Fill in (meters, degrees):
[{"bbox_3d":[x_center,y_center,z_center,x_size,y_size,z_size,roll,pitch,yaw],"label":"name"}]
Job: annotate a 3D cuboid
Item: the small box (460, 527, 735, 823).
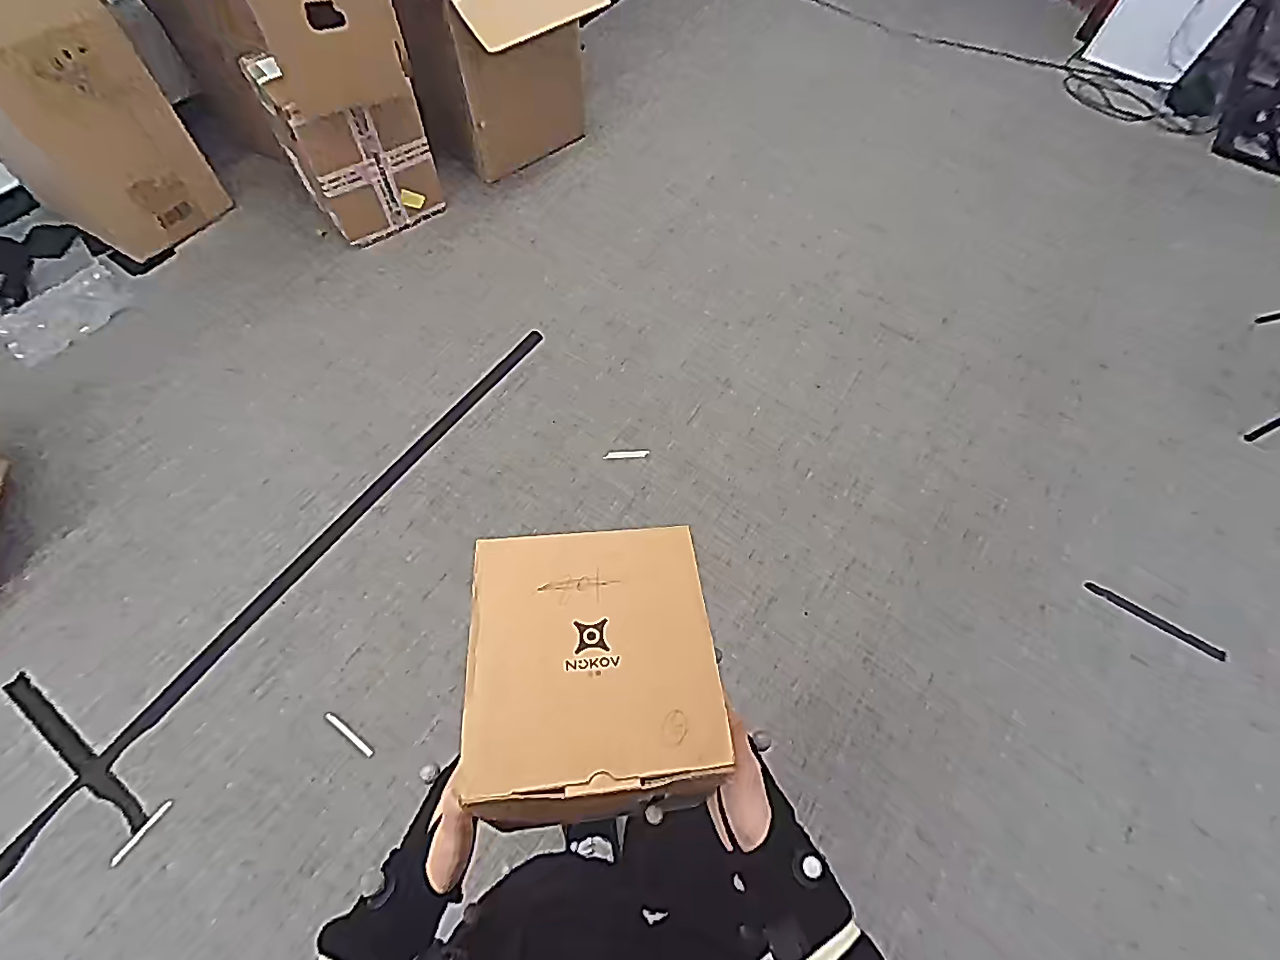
[{"bbox_3d":[-0.036,0.159,0.428,0.168,0.176,0.179,-3,52,-8],"label":"small box"}]
